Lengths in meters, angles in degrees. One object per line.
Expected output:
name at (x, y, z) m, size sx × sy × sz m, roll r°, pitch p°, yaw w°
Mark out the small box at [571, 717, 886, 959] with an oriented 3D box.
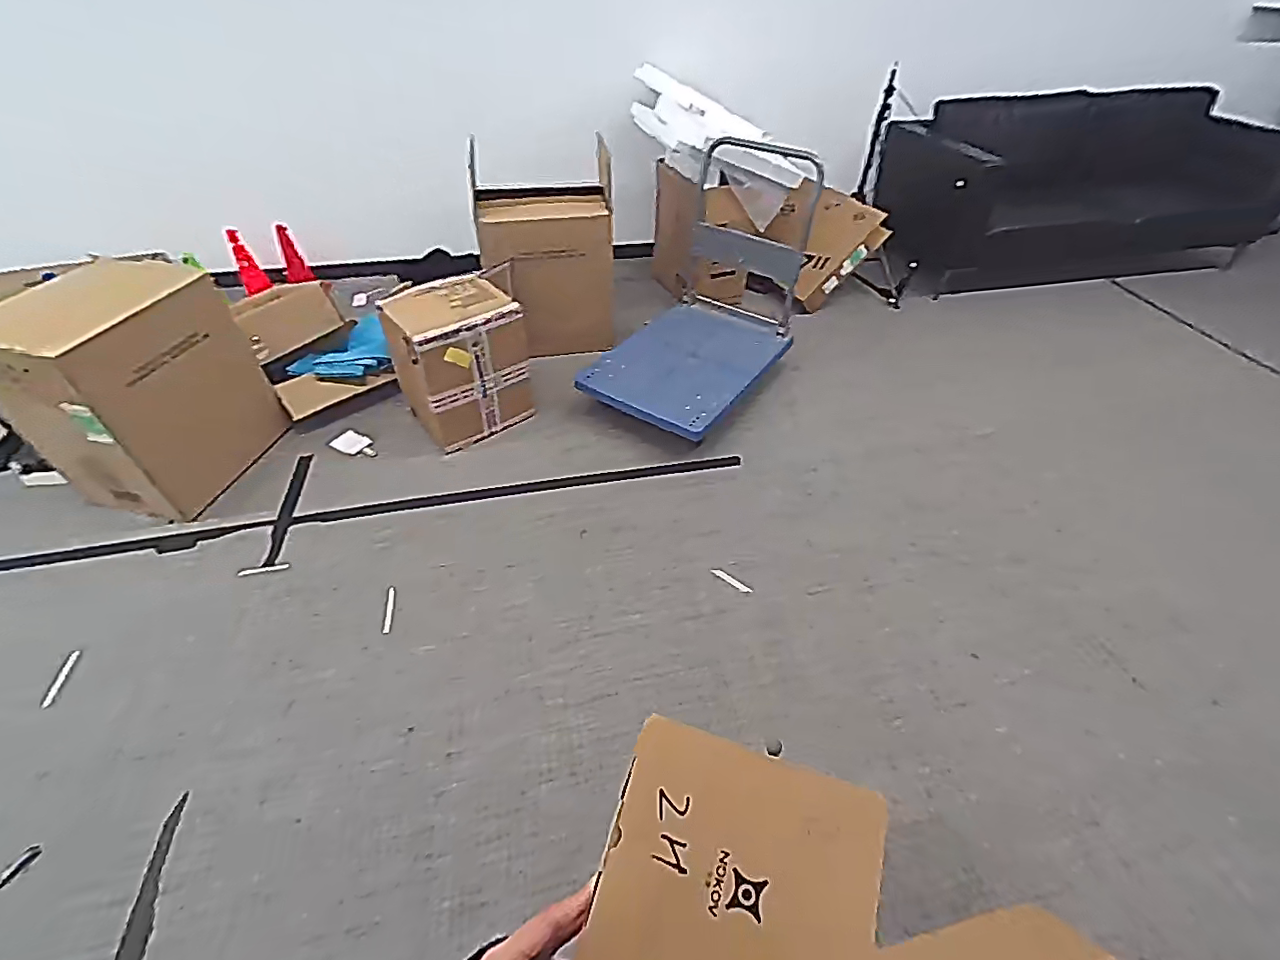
small box at (0.069, 0.303, 0.423) m, size 0.179 × 0.176 × 0.168 m, roll 14°, pitch 64°, yaw 14°
